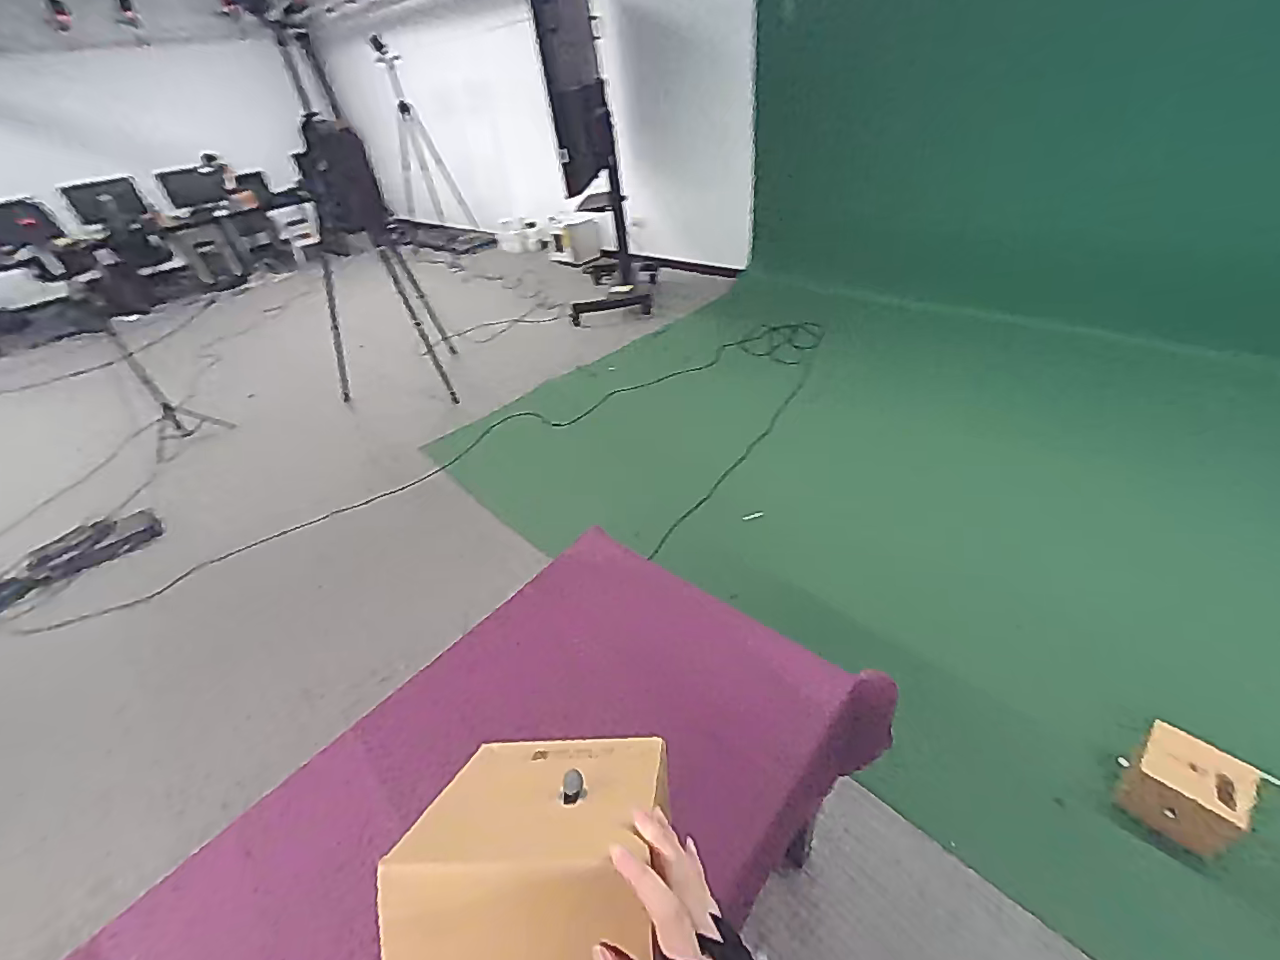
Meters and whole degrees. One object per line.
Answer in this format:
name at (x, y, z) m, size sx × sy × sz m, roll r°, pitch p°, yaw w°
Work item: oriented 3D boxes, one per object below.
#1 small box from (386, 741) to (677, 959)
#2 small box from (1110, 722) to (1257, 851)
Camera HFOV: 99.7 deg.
small box at (-0.061, 0.310, 0.398) m, size 0.168 × 0.179 × 0.176 m, roll -4°, pitch -2°, yaw 6°
small box at (1.234, 0.706, 1.237) m, size 0.168 × 0.176 × 0.179 m, roll -33°, pitch 42°, yaw -29°
